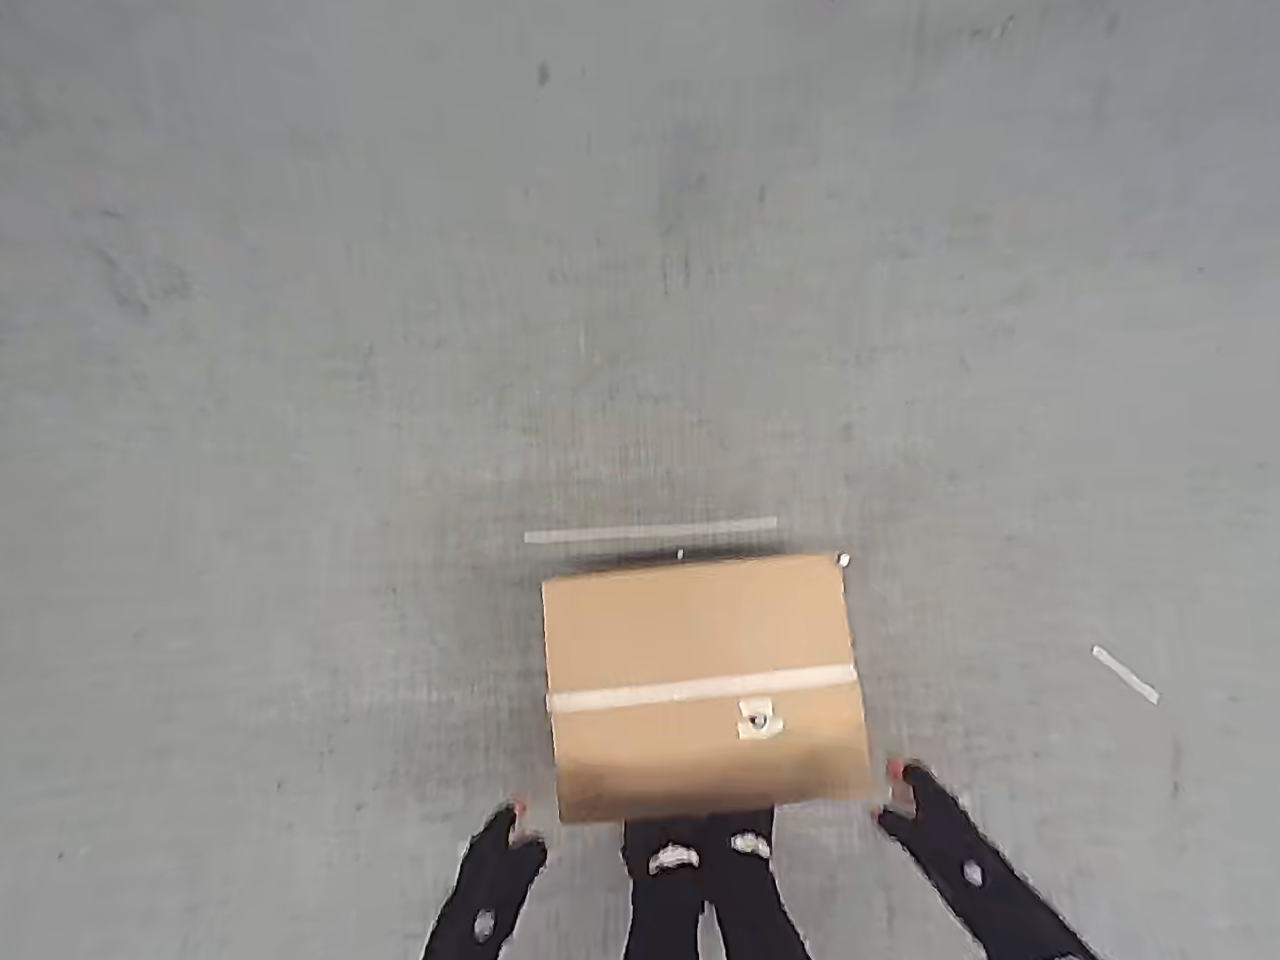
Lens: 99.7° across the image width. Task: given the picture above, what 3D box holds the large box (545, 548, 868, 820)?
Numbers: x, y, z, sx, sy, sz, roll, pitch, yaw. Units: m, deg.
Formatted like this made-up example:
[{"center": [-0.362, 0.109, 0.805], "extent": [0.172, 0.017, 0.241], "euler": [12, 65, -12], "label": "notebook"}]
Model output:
[{"center": [0.084, 0.290, 0.868], "extent": [0.408, 0.320, 0.320], "euler": [-6, 82, 0], "label": "large box"}]
